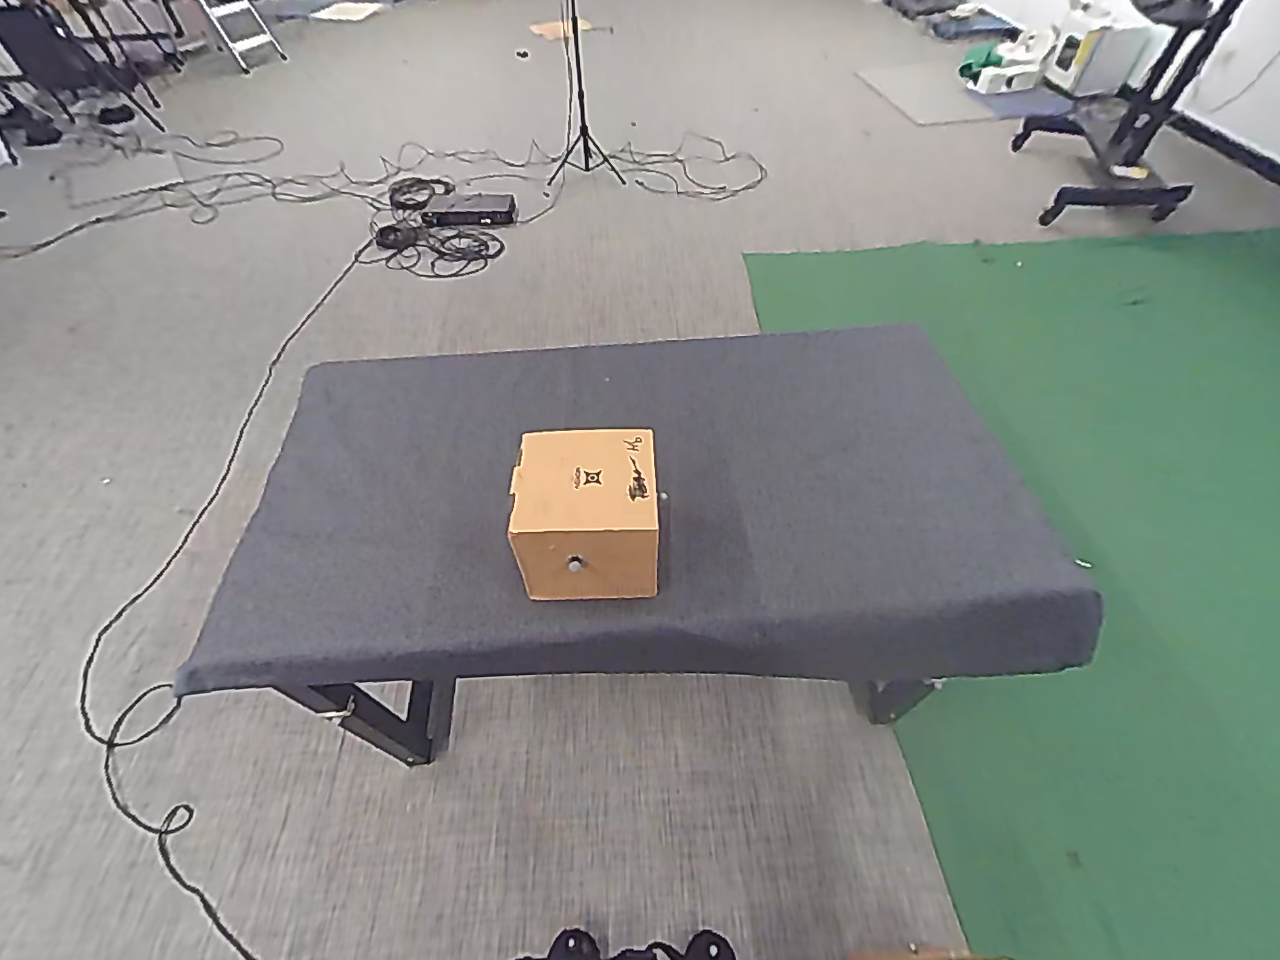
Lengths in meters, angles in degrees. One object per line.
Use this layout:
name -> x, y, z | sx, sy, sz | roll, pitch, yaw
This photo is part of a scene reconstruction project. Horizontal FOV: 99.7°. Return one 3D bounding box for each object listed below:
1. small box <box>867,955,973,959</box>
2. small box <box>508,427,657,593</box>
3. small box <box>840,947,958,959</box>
small box -> 0.462, 0.841, 0.826 | 0.179, 0.176, 0.168 | -2, 50, 0
small box -> -0.066, 0.045, 0.738 | 0.179, 0.176, 0.168 | -1, 51, 0
small box -> 0.474, 0.943, 0.956 | 0.179, 0.176, 0.168 | -4, 51, -1
